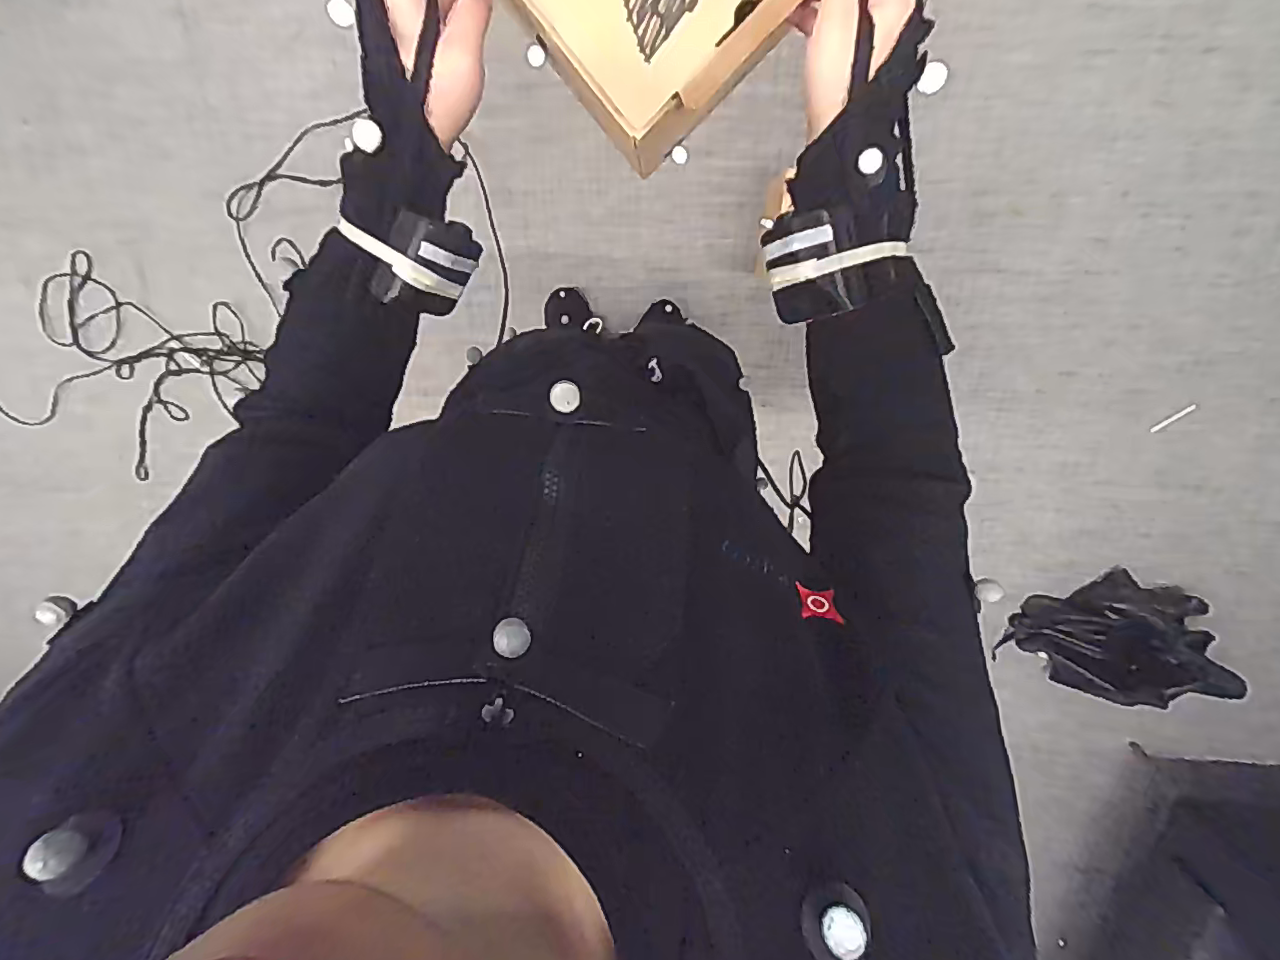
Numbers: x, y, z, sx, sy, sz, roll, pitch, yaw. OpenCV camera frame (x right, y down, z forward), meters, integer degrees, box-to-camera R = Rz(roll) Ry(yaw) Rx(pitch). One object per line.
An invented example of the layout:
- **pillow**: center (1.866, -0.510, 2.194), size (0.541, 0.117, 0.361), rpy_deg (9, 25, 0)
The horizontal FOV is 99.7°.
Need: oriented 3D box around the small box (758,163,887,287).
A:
- **small box**: center (0.310, -0.444, 0.961), size (0.168, 0.176, 0.179), rpy_deg (6, 111, 2)
